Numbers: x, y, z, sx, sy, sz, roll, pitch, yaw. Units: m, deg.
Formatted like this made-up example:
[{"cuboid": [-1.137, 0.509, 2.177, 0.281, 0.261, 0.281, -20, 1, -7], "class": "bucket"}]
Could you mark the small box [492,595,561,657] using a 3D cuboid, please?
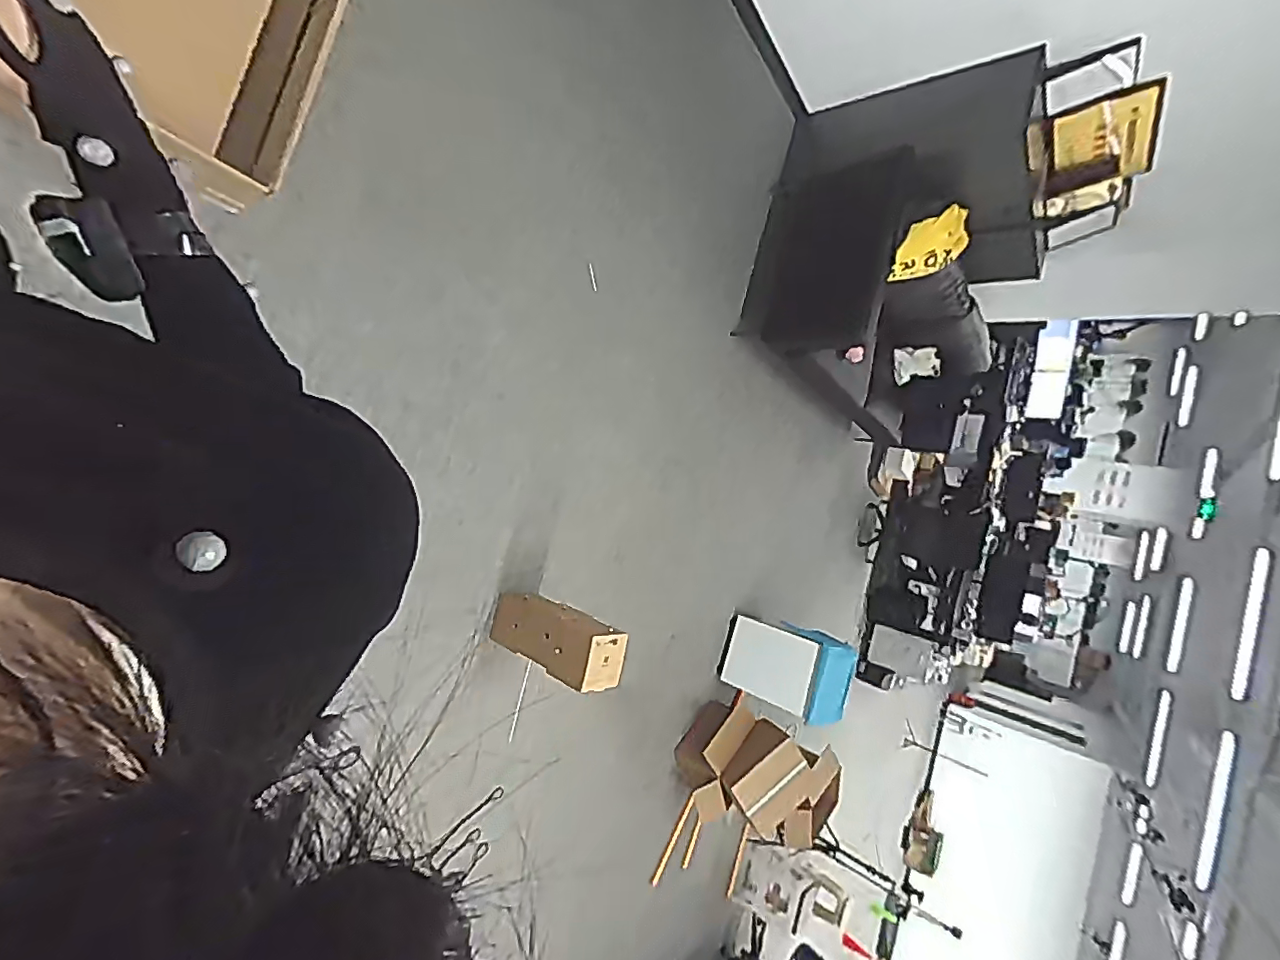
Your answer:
[{"cuboid": [-0.401, 0.517, 1.929, 0.168, 0.176, 0.179, 18, 85, -50], "class": "small box"}]

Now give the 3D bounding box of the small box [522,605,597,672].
[{"cuboid": [-0.275, 0.530, 1.824, 0.168, 0.176, 0.179, 19, 84, -49], "class": "small box"}]

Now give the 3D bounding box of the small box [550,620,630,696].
[{"cuboid": [-0.163, 0.555, 1.708, 0.168, 0.176, 0.179, 16, 87, -50], "class": "small box"}]
